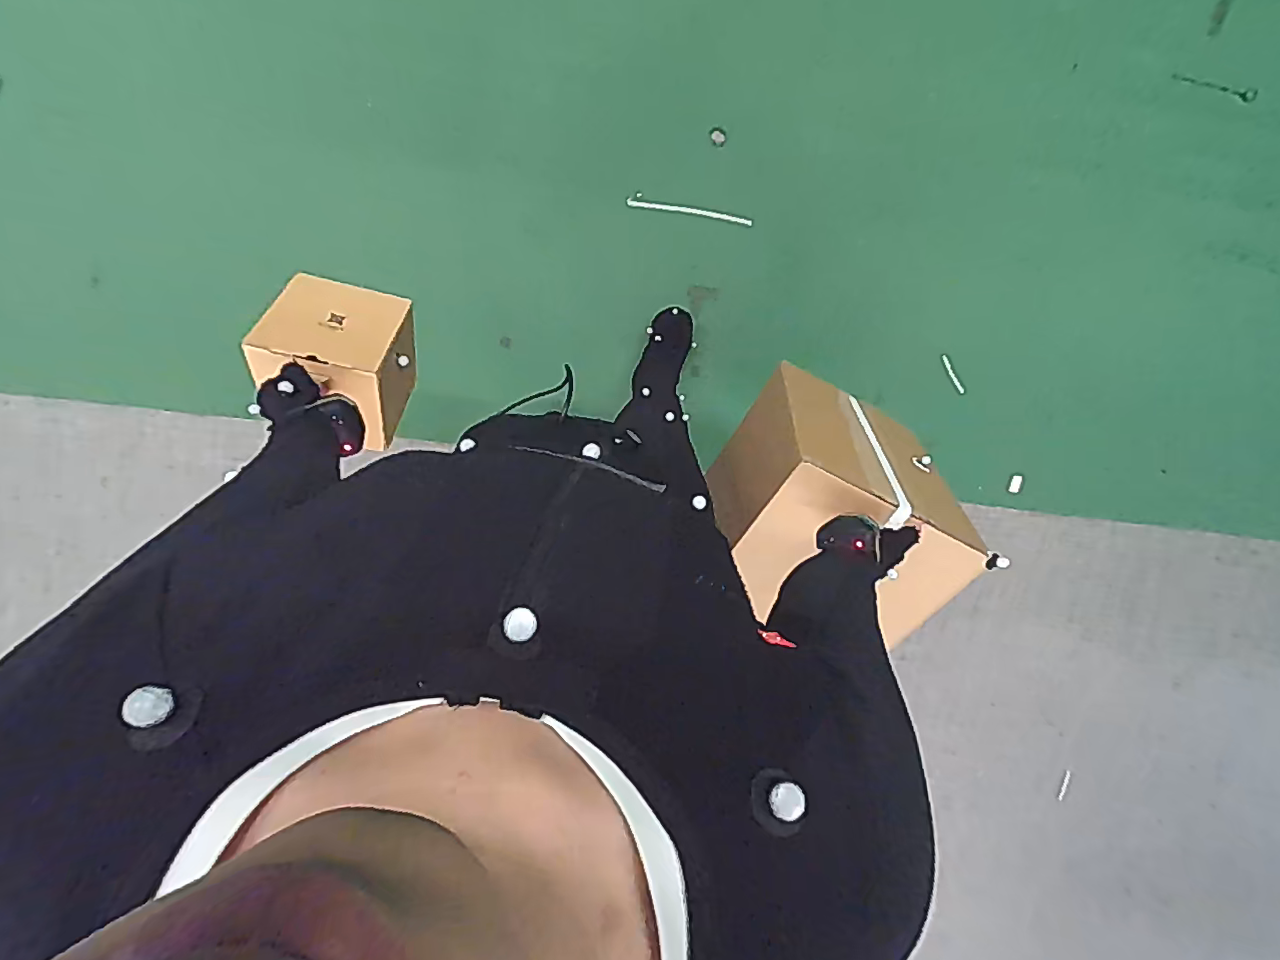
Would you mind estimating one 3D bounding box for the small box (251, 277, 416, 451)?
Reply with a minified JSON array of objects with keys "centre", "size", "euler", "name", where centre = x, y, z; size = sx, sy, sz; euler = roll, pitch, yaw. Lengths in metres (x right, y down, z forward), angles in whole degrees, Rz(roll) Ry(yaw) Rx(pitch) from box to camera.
[{"centre":[-0.453,-0.174,0.834],"size":[0.168,0.179,0.176],"euler":[11,140,-12],"name":"small box"}]
